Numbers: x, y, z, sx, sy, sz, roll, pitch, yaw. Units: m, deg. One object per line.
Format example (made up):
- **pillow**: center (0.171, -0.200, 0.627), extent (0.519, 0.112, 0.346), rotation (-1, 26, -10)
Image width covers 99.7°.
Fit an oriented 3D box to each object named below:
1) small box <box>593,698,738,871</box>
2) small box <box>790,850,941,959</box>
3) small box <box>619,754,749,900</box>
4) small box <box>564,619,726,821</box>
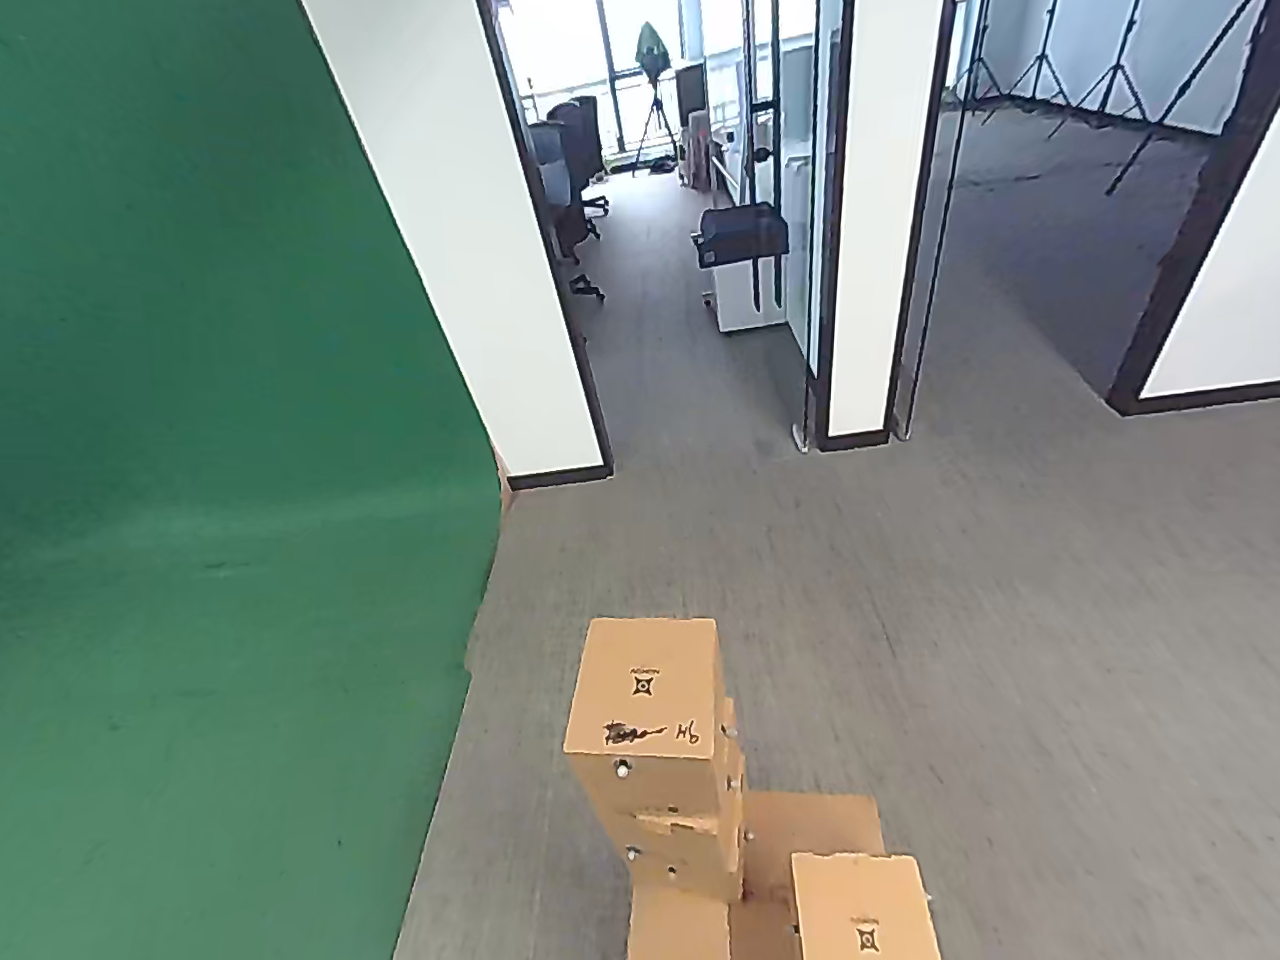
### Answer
- **small box**: center (0.050, 0.428, 0.782), extent (0.168, 0.176, 0.179), rotation (2, 39, 17)
- **small box**: center (0.299, 0.630, 0.731), extent (0.168, 0.176, 0.179), rotation (-5, 40, 9)
- **small box**: center (0.082, 0.555, 0.882), extent (0.179, 0.176, 0.168), rotation (1, 41, 15)
- **small box**: center (0.019, 0.298, 0.685), extent (0.168, 0.176, 0.179), rotation (-3, 39, 12)
